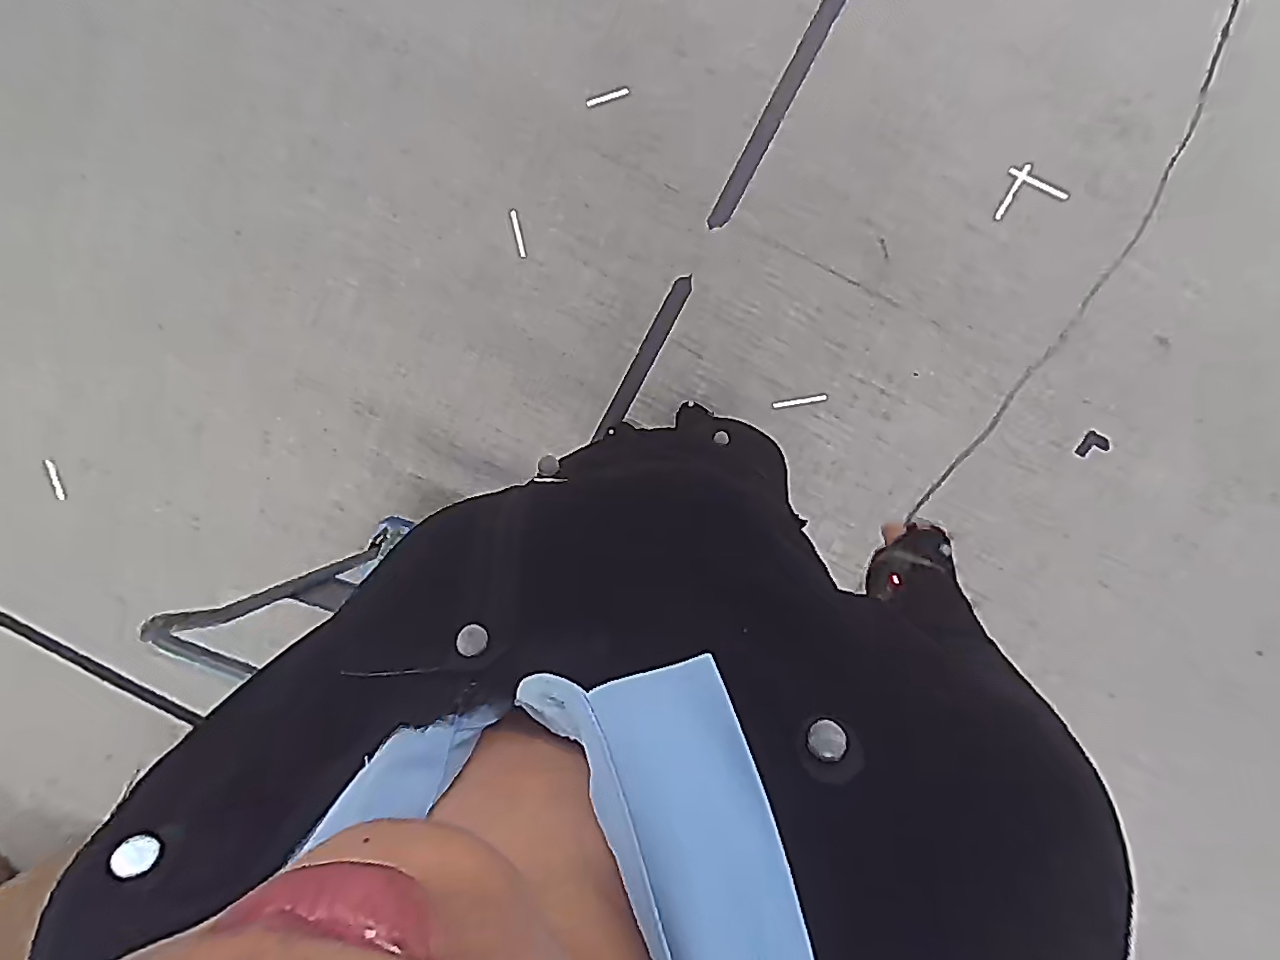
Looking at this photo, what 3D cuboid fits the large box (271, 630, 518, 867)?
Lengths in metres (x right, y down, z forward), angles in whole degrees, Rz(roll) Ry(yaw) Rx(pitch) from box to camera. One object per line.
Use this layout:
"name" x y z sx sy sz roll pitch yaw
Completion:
"large box" -0.563 0.618 1.303 0.408 0.320 0.320 21 100 0
